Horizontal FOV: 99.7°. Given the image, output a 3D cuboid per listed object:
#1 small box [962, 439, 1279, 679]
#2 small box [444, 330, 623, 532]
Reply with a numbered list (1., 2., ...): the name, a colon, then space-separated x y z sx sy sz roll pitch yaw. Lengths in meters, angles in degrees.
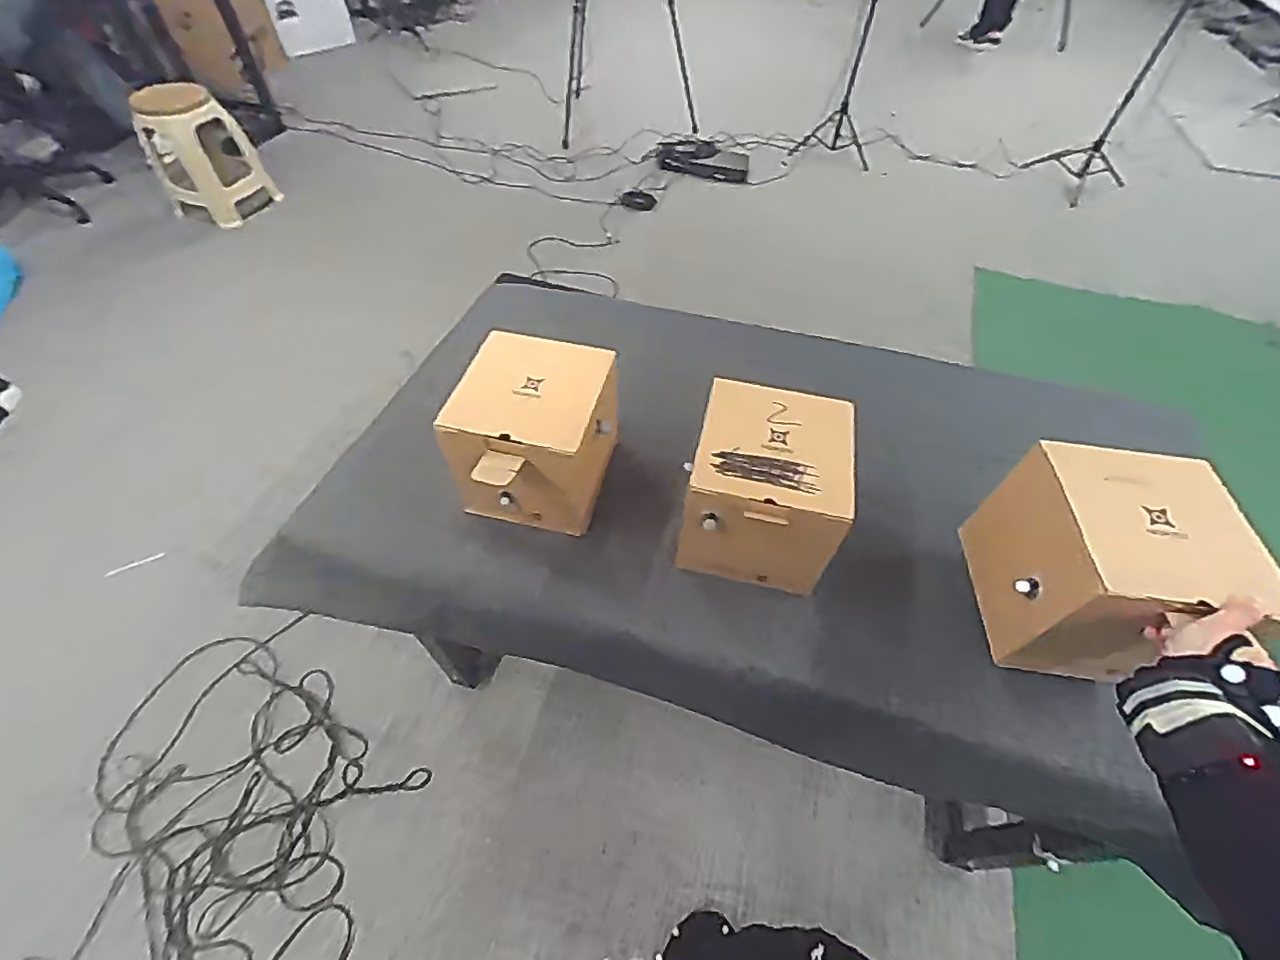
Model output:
1. small box: 0.468 0.085 0.553 0.168 0.176 0.179 7 50 2
2. small box: -0.124 -0.061 0.697 0.168 0.176 0.179 12 53 6
